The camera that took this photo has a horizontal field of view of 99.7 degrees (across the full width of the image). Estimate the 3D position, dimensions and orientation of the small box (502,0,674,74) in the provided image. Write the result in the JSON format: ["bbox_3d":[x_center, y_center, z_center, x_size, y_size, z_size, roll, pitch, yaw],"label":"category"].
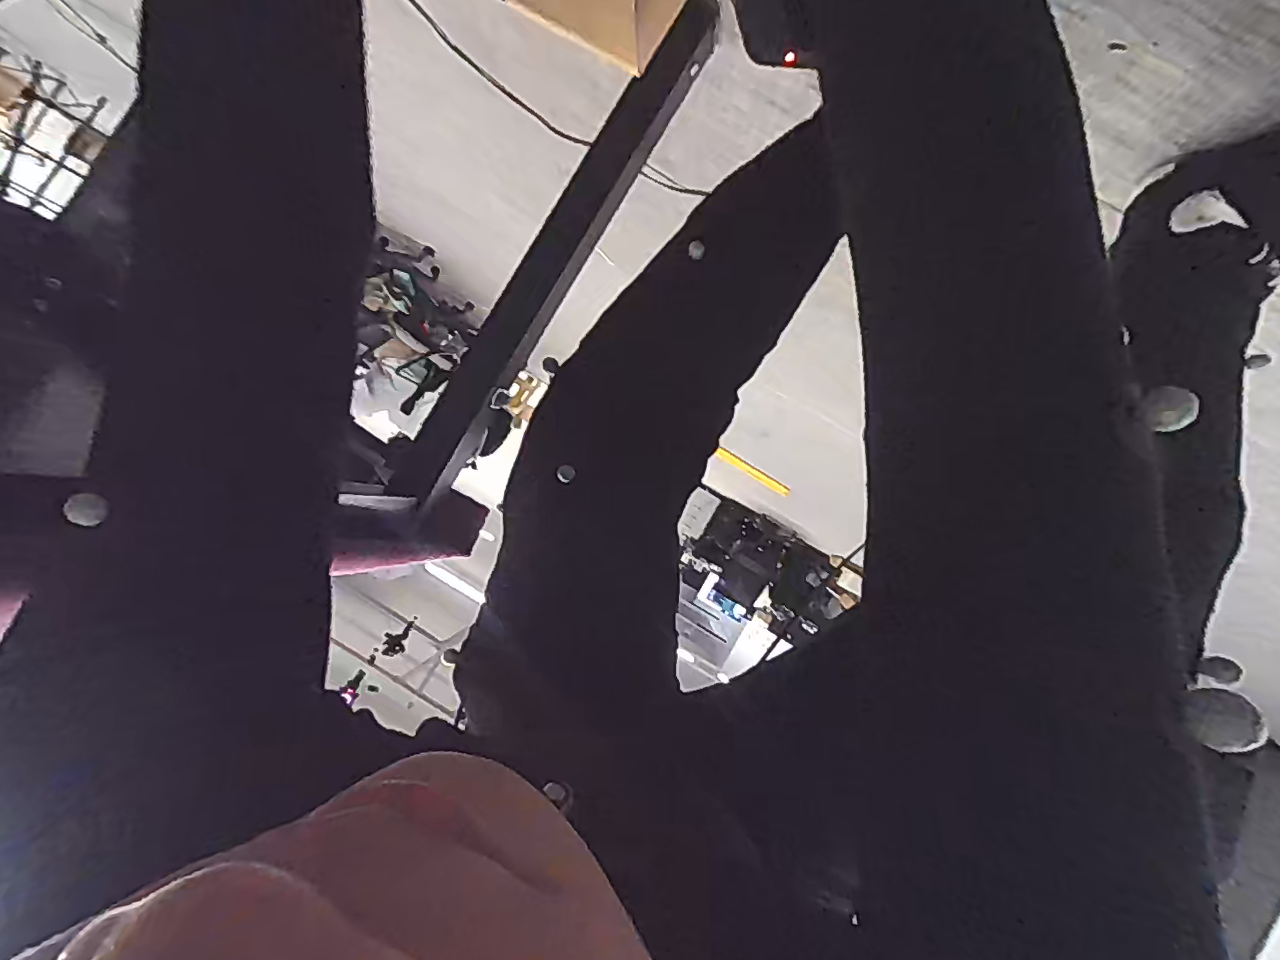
[{"bbox_3d":[-0.036,-0.532,0.479,0.168,0.176,0.179,31,178,4],"label":"small box"}]
